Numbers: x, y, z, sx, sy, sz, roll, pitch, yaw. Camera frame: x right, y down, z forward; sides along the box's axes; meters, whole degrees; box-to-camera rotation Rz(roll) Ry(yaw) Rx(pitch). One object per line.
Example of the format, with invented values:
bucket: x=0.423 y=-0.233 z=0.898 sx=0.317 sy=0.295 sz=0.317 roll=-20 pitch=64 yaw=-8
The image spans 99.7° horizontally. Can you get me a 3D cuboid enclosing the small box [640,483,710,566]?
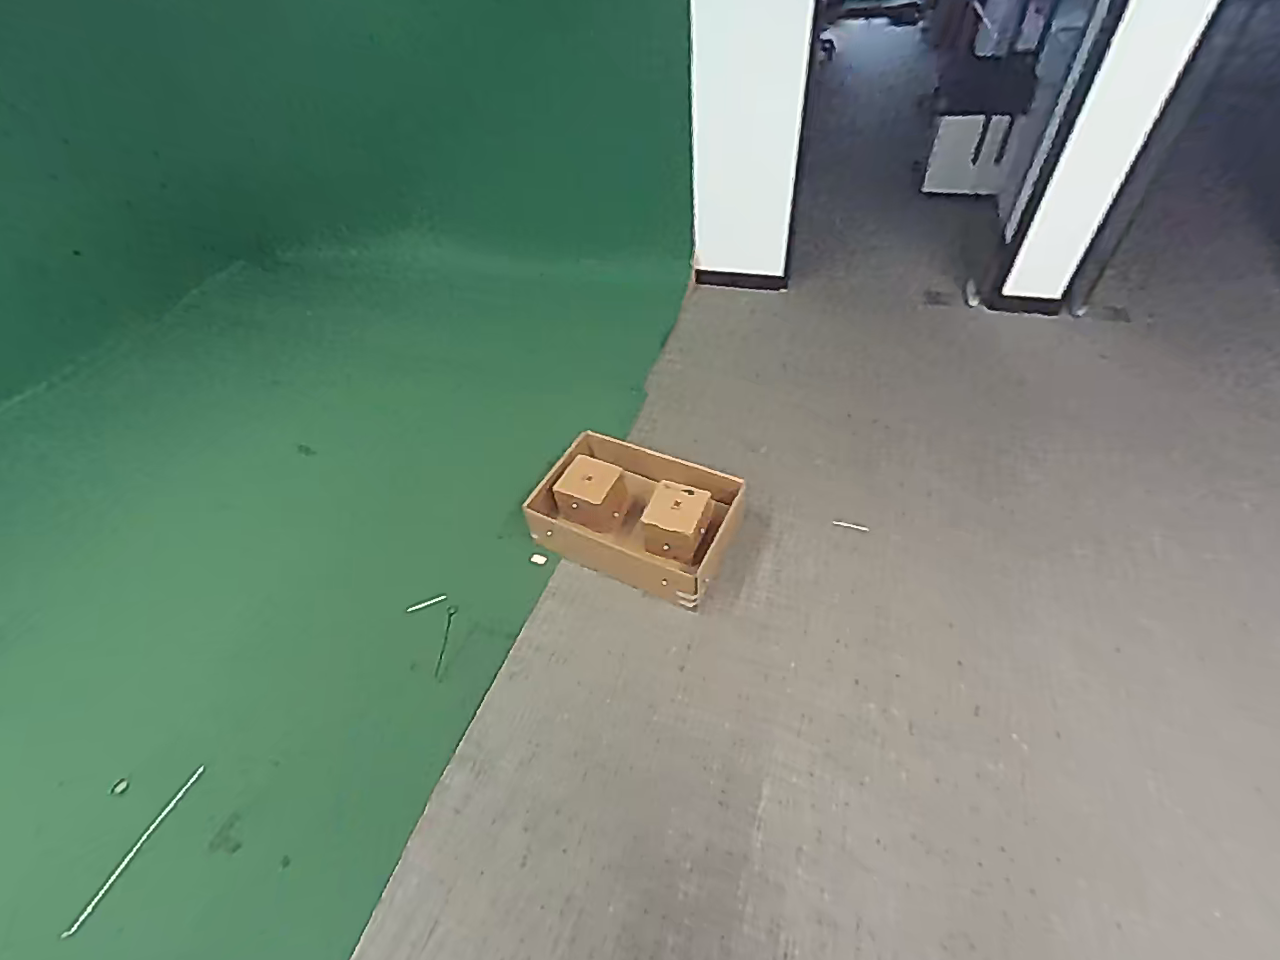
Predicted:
small box: x=0.115 y=0.142 z=1.691 sx=0.168 sy=0.176 sz=0.179 roll=16 pitch=53 yaw=19
